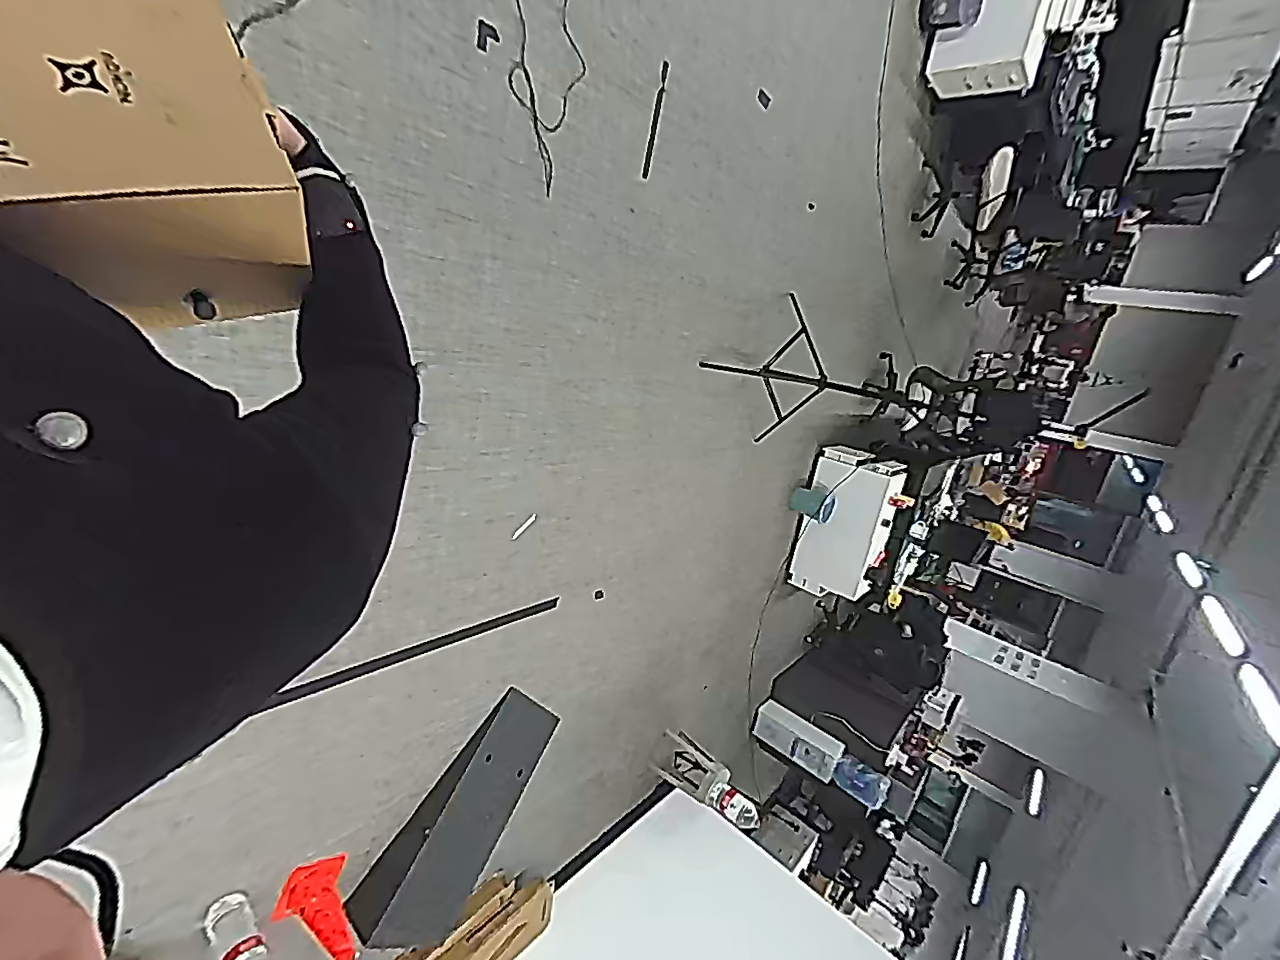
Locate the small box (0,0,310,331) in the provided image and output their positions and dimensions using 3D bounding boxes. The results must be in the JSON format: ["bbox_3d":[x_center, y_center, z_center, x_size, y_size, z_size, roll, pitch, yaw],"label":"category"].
[{"bbox_3d":[-0.384,-0.240,0.428,0.179,0.176,0.168,-22,87,-31],"label":"small box"}]
